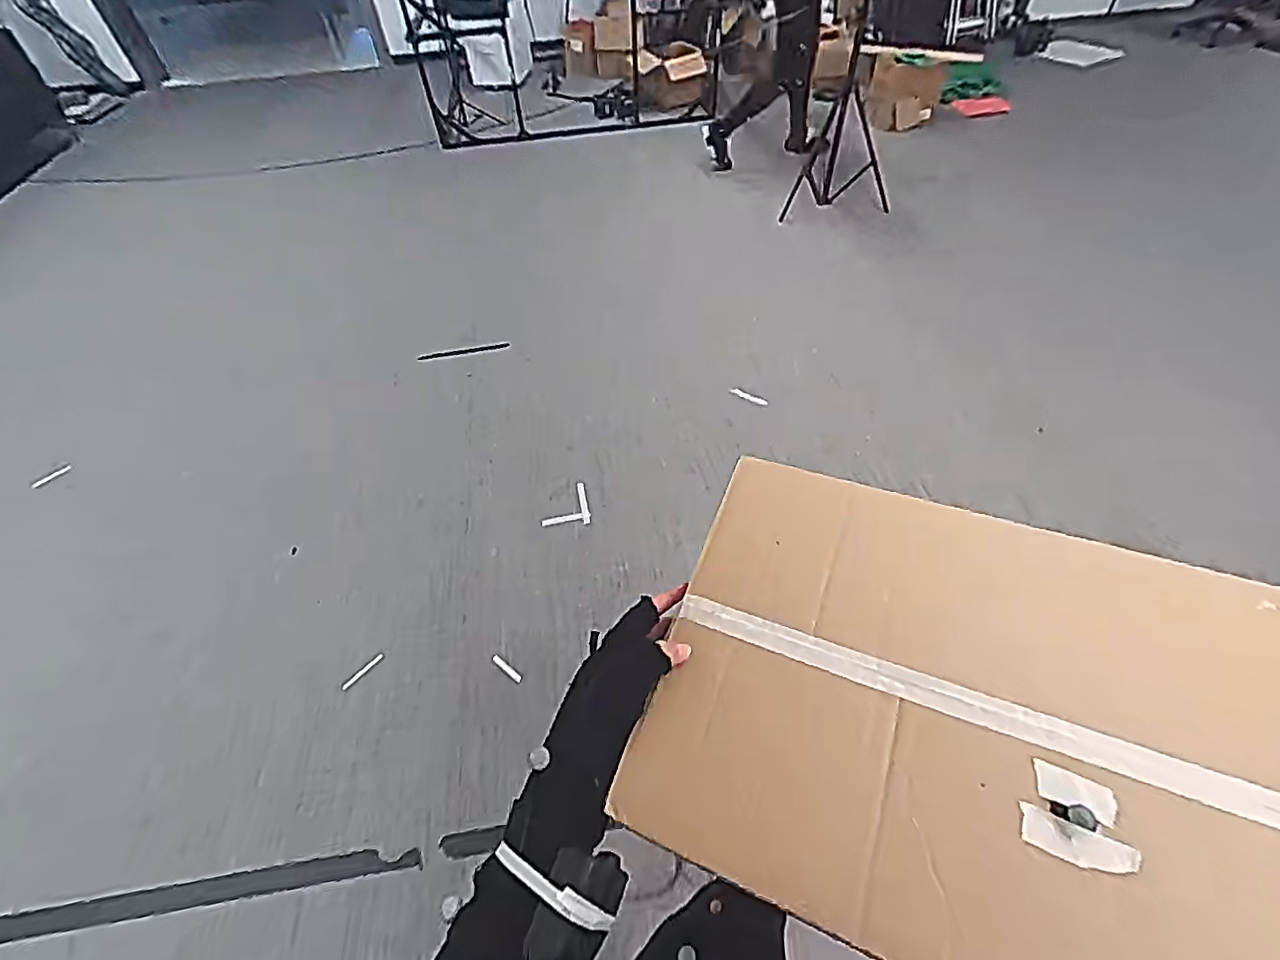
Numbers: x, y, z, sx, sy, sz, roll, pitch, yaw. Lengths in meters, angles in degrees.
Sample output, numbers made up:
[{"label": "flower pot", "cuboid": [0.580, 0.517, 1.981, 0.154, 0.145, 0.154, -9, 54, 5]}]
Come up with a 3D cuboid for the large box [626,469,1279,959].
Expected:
[{"label": "large box", "cuboid": [0.245, 0.238, 0.509, 0.408, 0.320, 0.320, 16, 62, 20]}]
